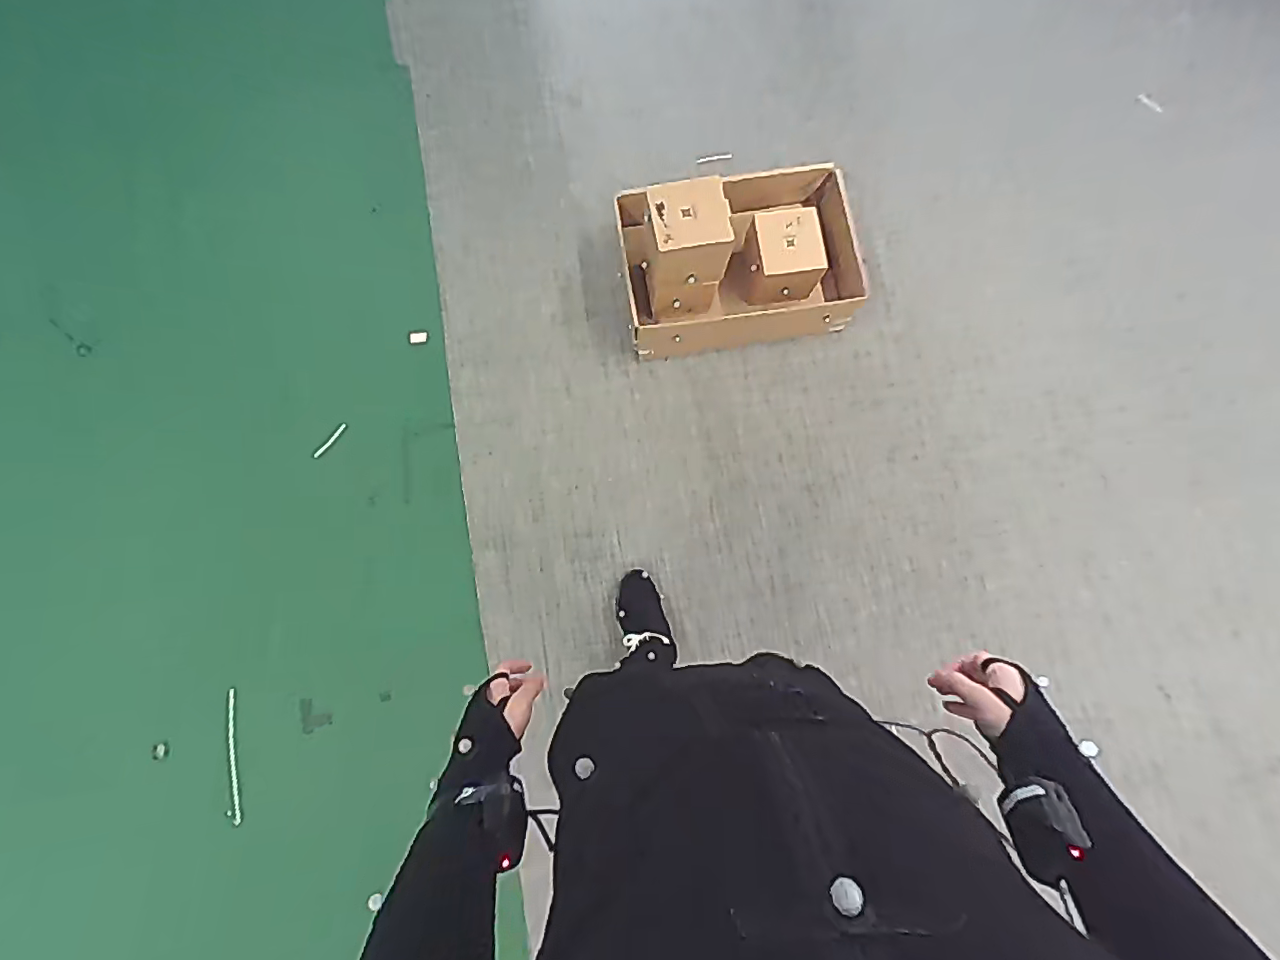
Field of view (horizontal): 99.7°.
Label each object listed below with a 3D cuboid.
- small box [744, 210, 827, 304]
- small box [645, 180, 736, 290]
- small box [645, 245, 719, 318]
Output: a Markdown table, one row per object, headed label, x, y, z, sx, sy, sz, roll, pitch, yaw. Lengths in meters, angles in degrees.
| label | x | y | z | sx | sy | sz | roll | pitch | yaw |
| --- | --- | --- | --- | --- | --- | --- | --- | --- | --- |
| small box | 0.386 | -0.592 | 1.461 | 0.168 | 0.176 | 0.179 | -7 | 80 | -1 |
| small box | 0.113 | -0.576 | 1.287 | 0.179 | 0.176 | 0.168 | -9 | 79 | -4 |
| small box | 0.107 | -0.550 | 1.449 | 0.168 | 0.176 | 0.179 | -8 | 79 | -3 |
